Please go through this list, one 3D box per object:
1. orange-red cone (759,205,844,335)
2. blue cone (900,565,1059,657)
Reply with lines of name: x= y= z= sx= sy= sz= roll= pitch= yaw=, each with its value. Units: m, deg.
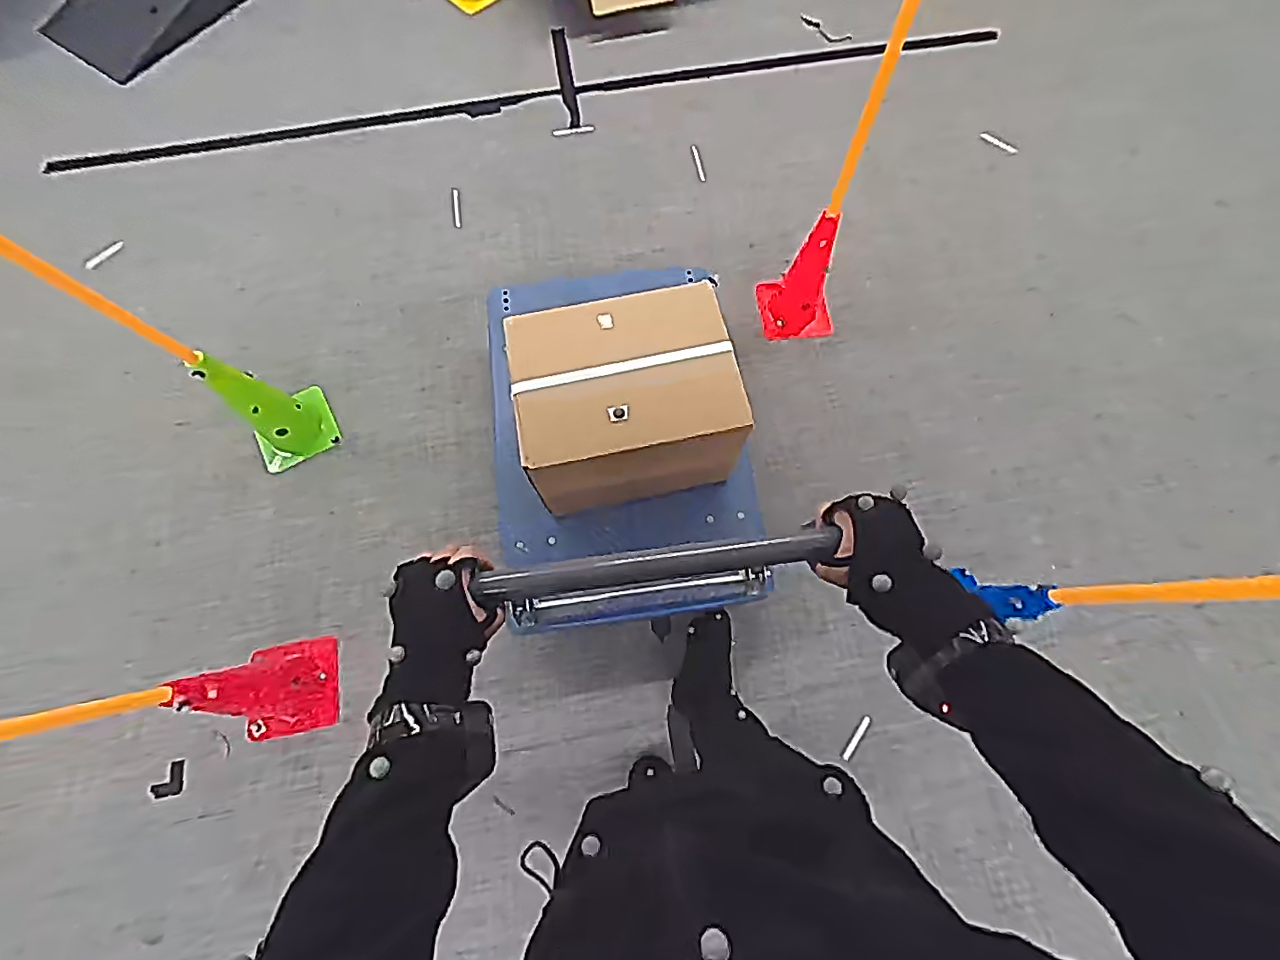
orange-red cone: x=0.454 y=-0.564 z=1.412 sx=0.199 sy=0.360 sz=0.198 roll=-3 pitch=71 yaw=-2
blue cone: x=0.738 y=0.256 z=1.137 sx=0.193 sy=0.380 sz=0.192 roll=-13 pitch=70 yaw=-5
